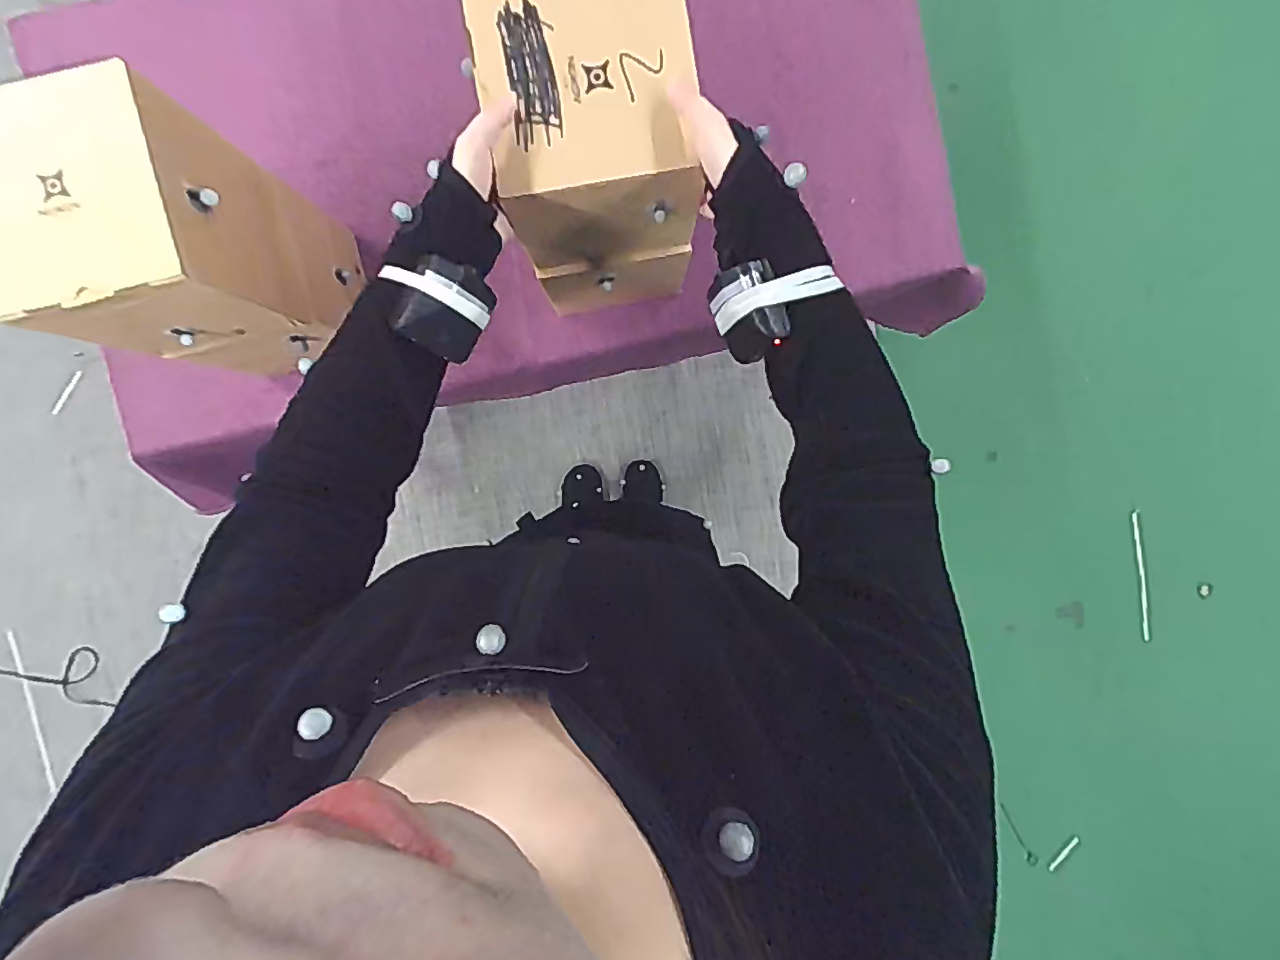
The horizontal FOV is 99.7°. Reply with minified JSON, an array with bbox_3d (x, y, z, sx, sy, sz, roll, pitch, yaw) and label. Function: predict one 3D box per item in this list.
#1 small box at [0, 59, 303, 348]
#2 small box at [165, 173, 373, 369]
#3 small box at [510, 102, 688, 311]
[{"bbox_3d":[-0.464,-0.240,0.514,0.168,0.176,0.179,-13,95,0],"label":"small box"},{"bbox_3d":[-0.461,-0.246,0.677,0.179,0.176,0.168,-13,93,0],"label":"small box"},{"bbox_3d":[-0.044,-0.322,0.674,0.179,0.176,0.168,-10,94,0],"label":"small box"}]
